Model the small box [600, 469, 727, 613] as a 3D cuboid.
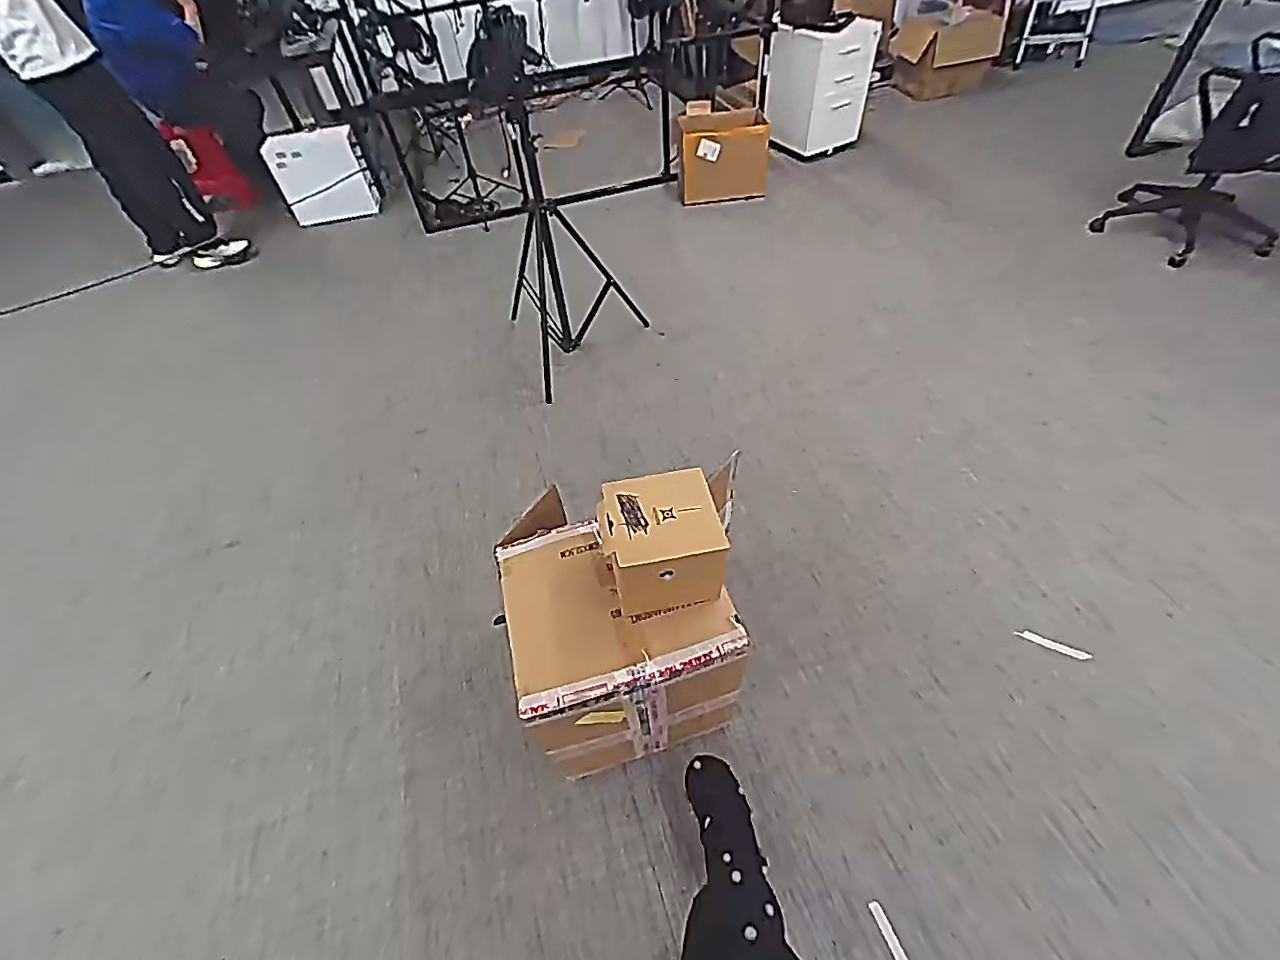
[{"bbox_3d":[0.036,0.108,0.919,0.179,0.176,0.168,-10,52,-7],"label":"small box"}]
